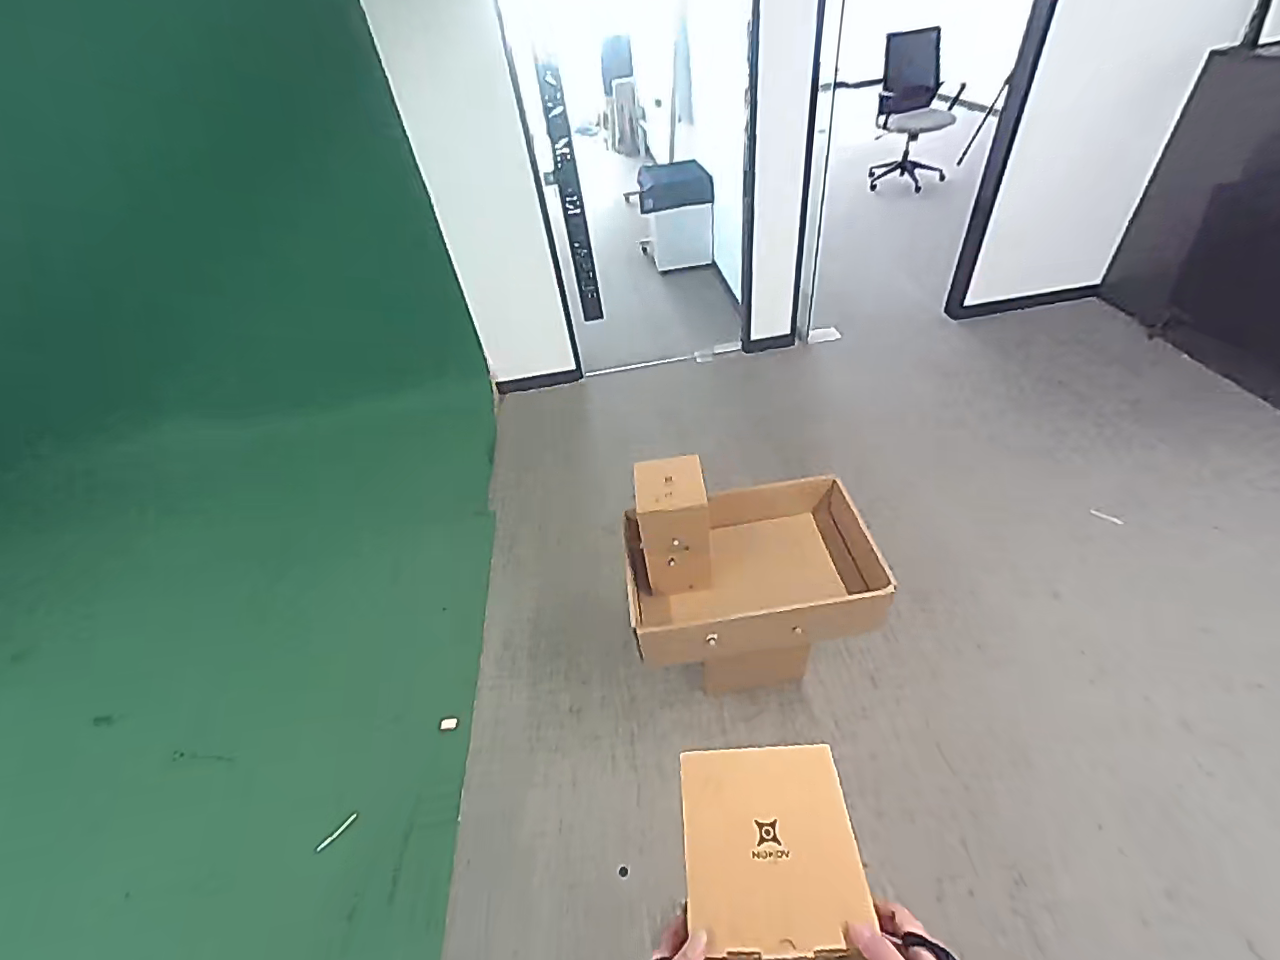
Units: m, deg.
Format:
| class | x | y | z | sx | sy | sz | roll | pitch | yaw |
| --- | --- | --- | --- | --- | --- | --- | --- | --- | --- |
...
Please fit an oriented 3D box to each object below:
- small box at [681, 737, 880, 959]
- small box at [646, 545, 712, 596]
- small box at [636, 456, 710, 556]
| class | x | y | z | sx | sy | sz | roll | pitch | yaw |
| --- | --- | --- | --- | --- | --- | --- | --- | --- | --- |
| small box | 0.131 | 0.402 | 0.576 | 0.168 | 0.176 | 0.179 | -5 | 39 | 3 |
| small box | 0.098 | 0.185 | 1.448 | 0.168 | 0.176 | 0.179 | -8 | 43 | 1 |
| small box | 0.081 | 0.066 | 1.337 | 0.168 | 0.176 | 0.179 | -7 | 43 | 3 |
